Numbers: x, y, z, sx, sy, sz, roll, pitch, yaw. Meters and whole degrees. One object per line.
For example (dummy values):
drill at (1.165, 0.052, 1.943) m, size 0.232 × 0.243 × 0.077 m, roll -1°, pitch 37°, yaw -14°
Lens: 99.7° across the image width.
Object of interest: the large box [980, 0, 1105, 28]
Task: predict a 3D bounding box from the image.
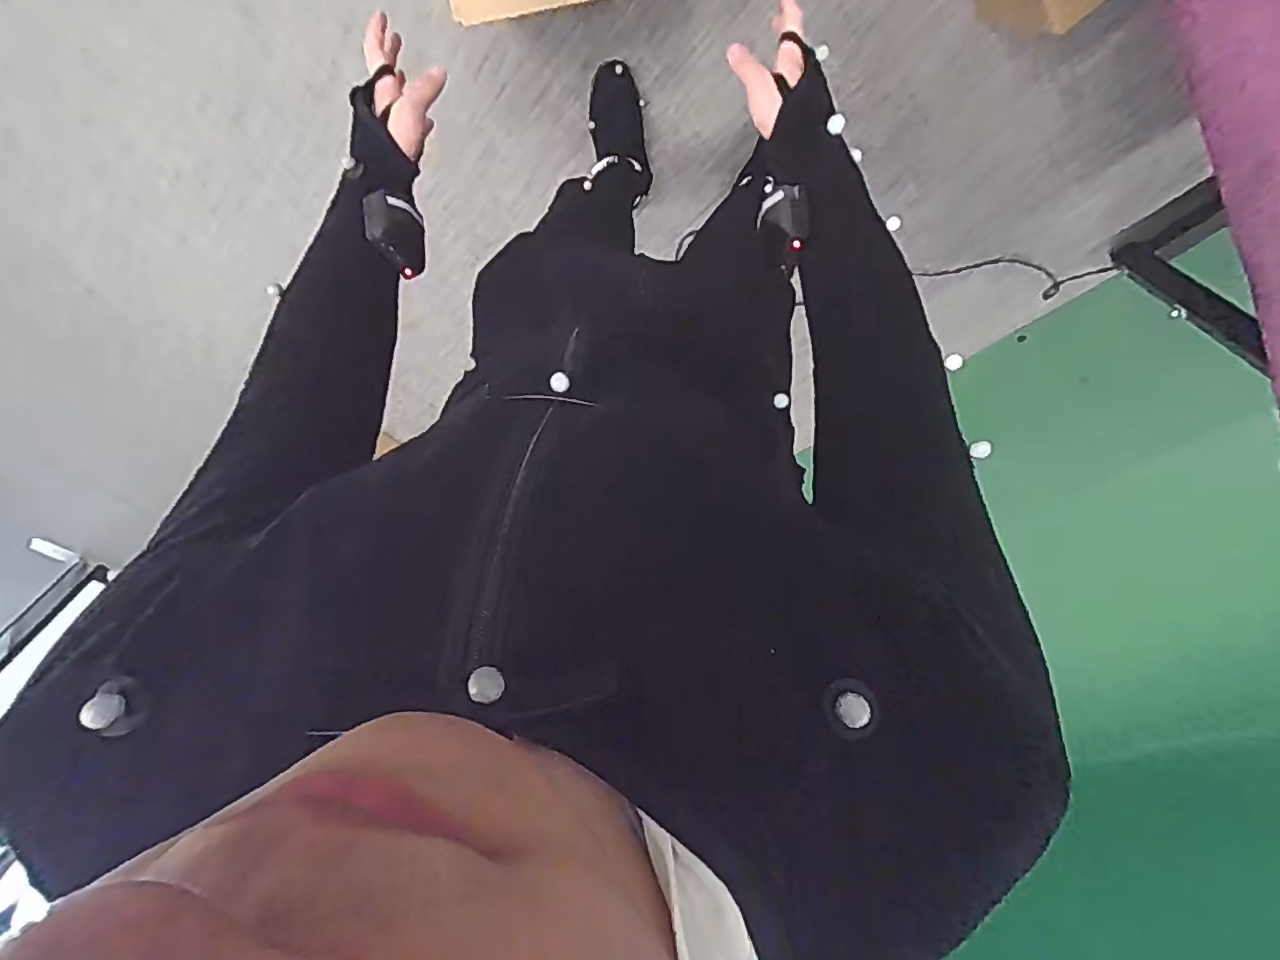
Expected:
large box at (0.700, -0.977, 0.781) m, size 0.320 × 0.320 × 0.408 m, roll 37°, pitch 126°, yaw -27°
